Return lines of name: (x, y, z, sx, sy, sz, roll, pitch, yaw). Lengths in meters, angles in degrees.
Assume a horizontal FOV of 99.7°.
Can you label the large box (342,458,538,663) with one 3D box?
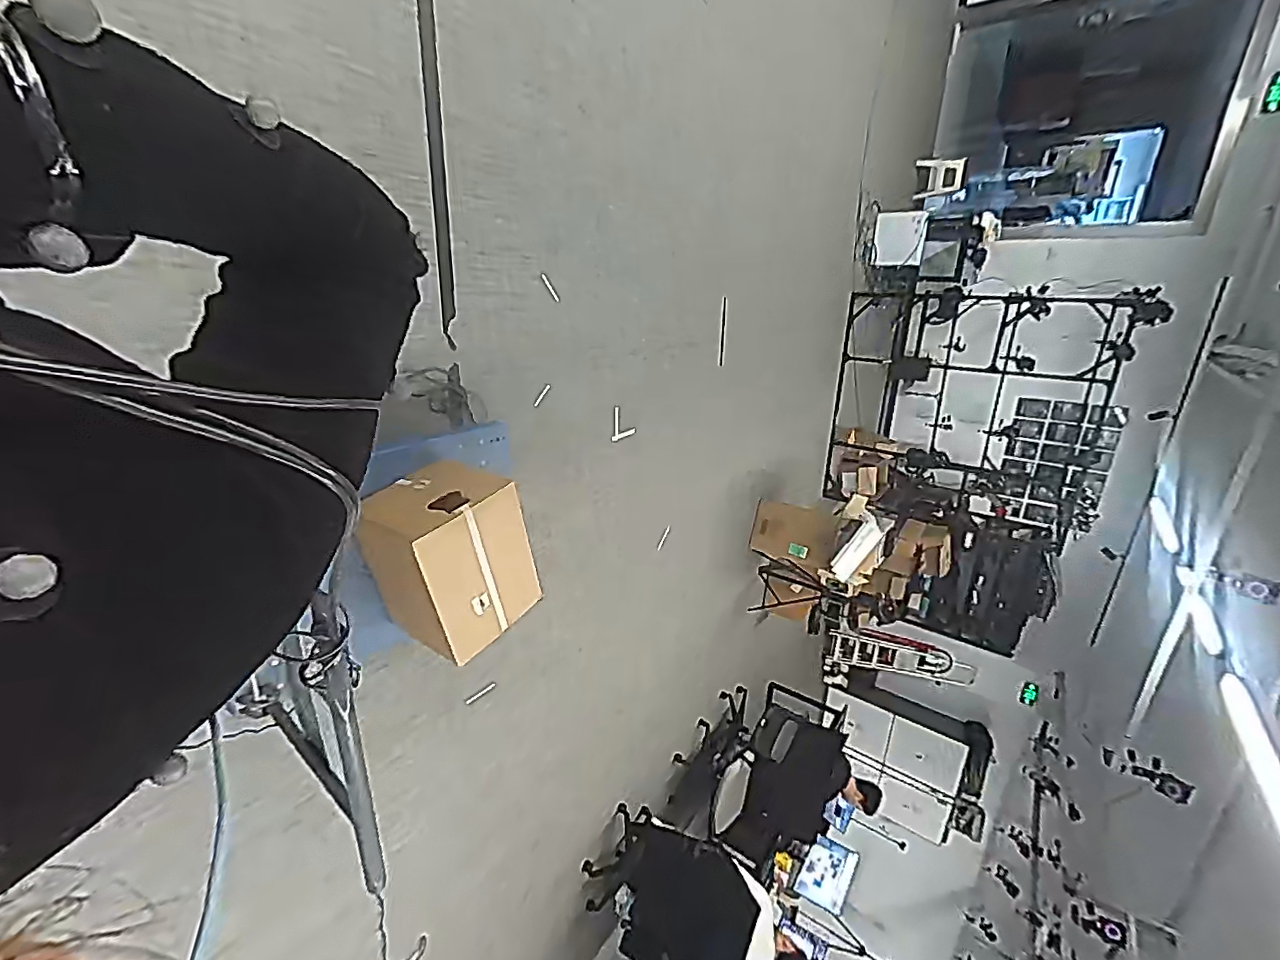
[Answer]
large box: (-0.529, 0.204, 1.476, 0.320, 0.320, 0.408, -37, 132, -42)
